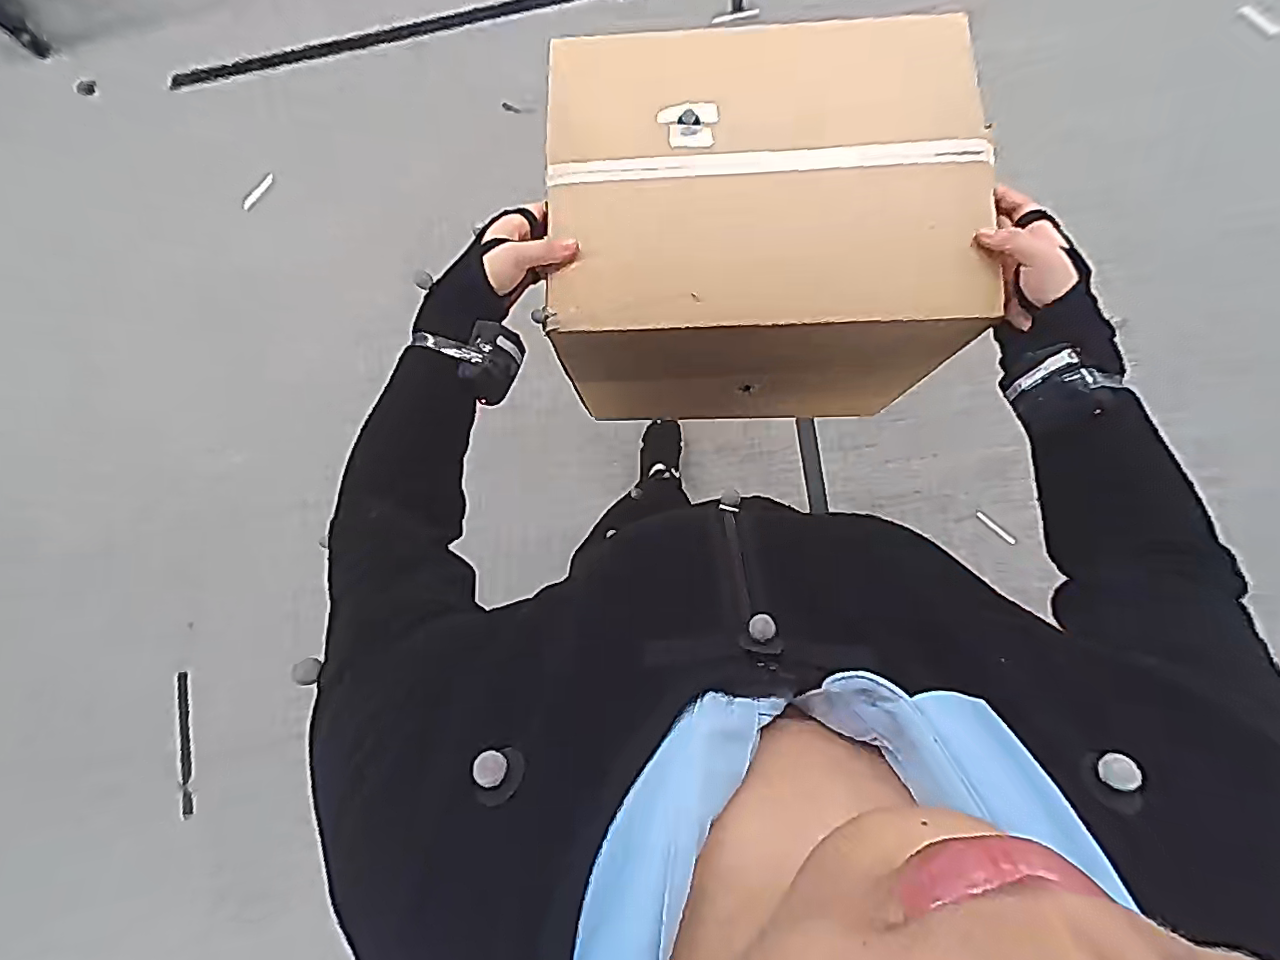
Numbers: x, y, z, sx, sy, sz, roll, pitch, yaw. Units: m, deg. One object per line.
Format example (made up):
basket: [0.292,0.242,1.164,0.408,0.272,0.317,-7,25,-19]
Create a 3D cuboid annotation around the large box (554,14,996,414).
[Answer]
large box: [0.129,-0.273,0.662,0.408,0.320,0.320,-1,79,5]
